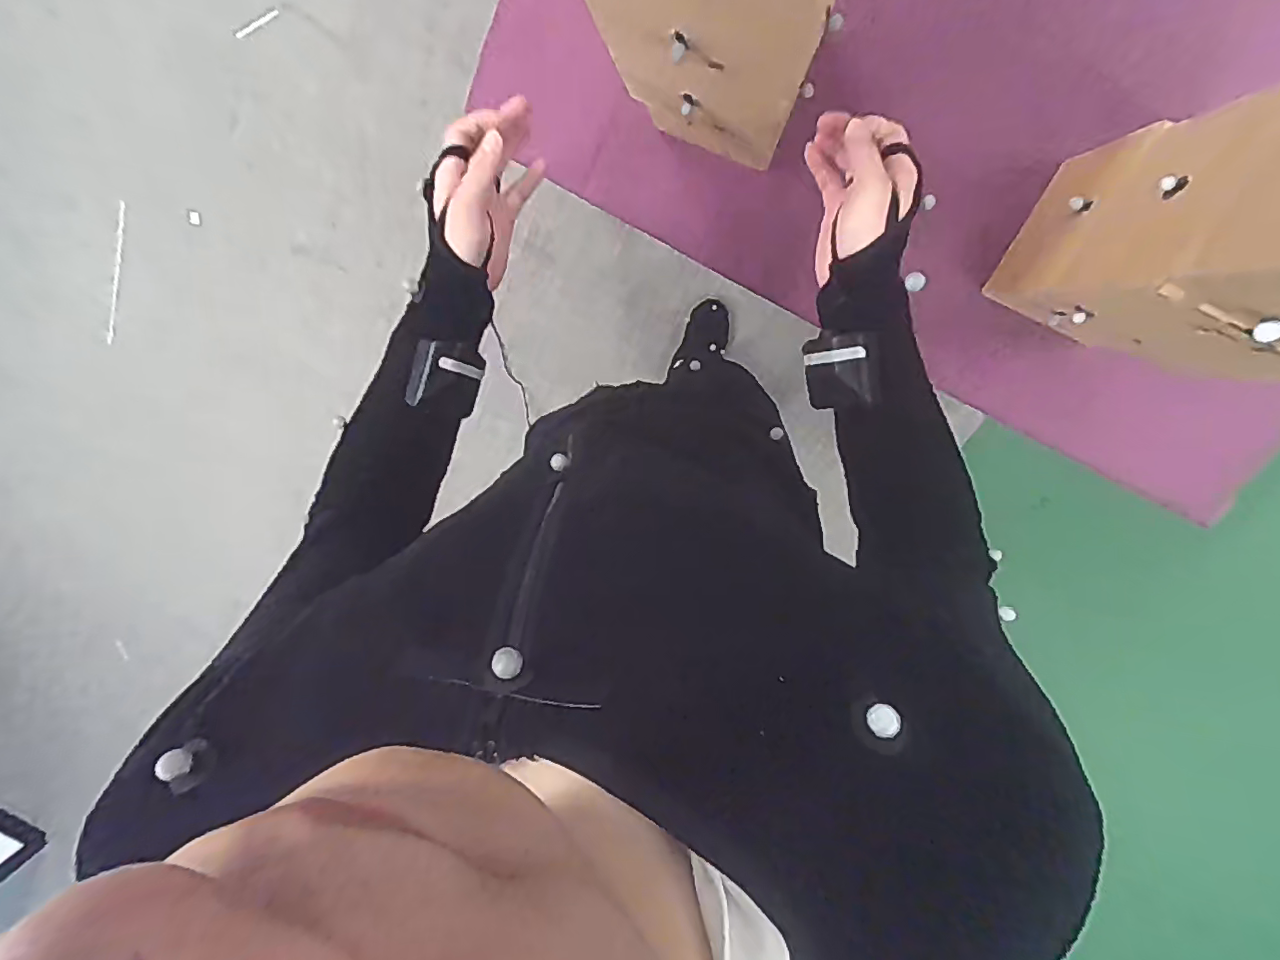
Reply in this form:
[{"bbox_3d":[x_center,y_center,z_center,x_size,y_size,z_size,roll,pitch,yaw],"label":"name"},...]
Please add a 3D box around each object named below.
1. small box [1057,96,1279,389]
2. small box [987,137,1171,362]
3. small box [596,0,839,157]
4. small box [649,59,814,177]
[{"bbox_3d":[0.525,-0.195,0.478,0.168,0.176,0.179,28,107,-1],"label":"small box"},{"bbox_3d":[0.549,-0.250,0.631,0.168,0.176,0.179,26,108,0],"label":"small box"},{"bbox_3d":[0.081,-0.416,0.469,0.168,0.176,0.179,23,109,0],"label":"small box"},{"bbox_3d":[0.109,-0.482,0.619,0.168,0.176,0.179,23,109,1],"label":"small box"}]
